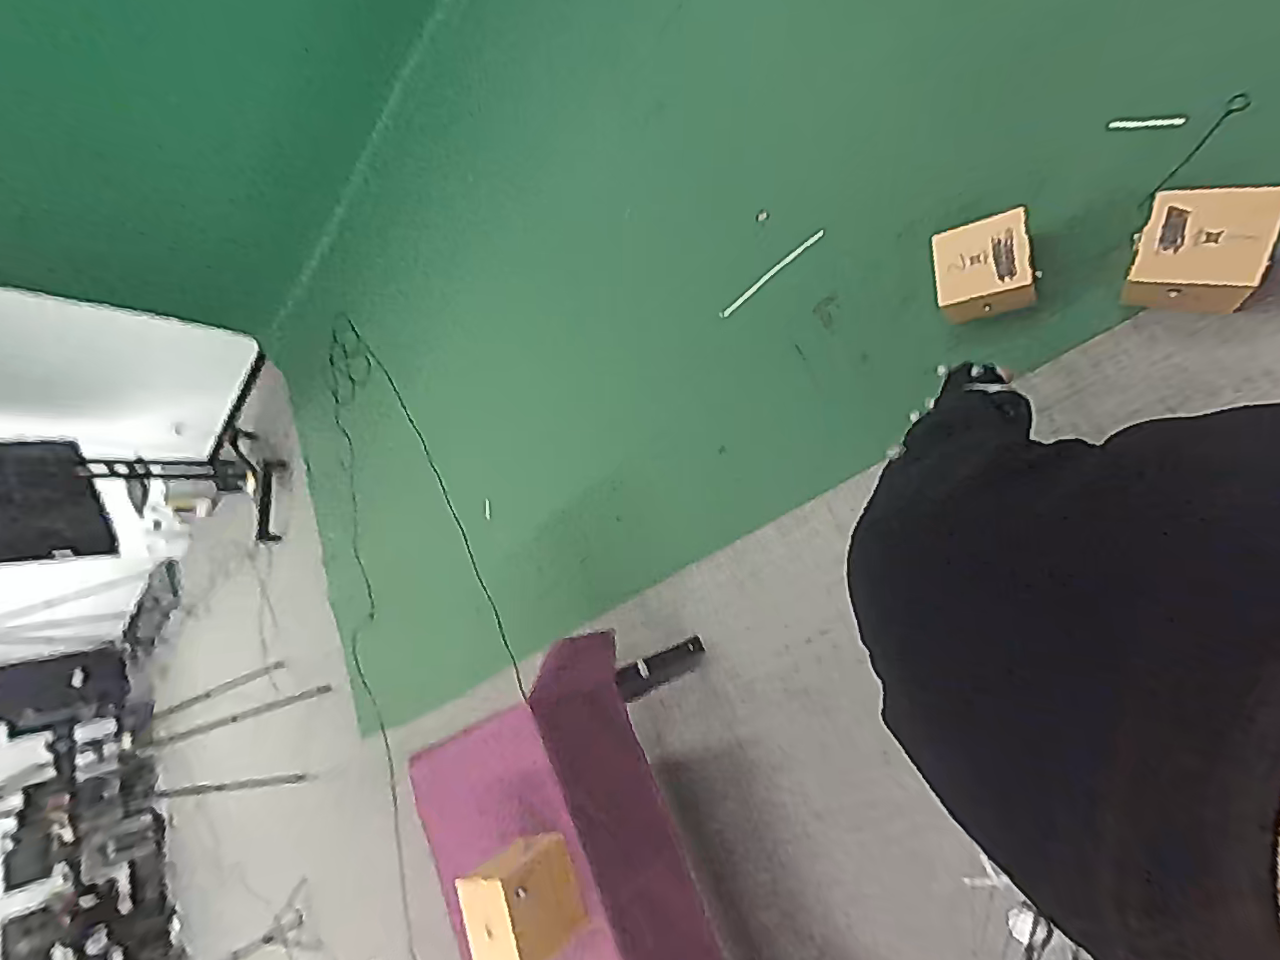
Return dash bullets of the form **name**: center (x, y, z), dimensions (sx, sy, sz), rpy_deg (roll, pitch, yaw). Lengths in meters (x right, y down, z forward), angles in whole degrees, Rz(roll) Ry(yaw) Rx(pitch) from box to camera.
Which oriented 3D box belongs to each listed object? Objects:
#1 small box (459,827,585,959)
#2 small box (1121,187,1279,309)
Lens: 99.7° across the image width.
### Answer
- **small box**: center (-0.237, 0.847, 1.105), dimensions (0.168, 0.176, 0.179), rpy_deg (-32, 70, 34)
- **small box**: center (1.053, -0.432, 1.025), dimensions (0.179, 0.176, 0.168), rpy_deg (20, 101, 36)
